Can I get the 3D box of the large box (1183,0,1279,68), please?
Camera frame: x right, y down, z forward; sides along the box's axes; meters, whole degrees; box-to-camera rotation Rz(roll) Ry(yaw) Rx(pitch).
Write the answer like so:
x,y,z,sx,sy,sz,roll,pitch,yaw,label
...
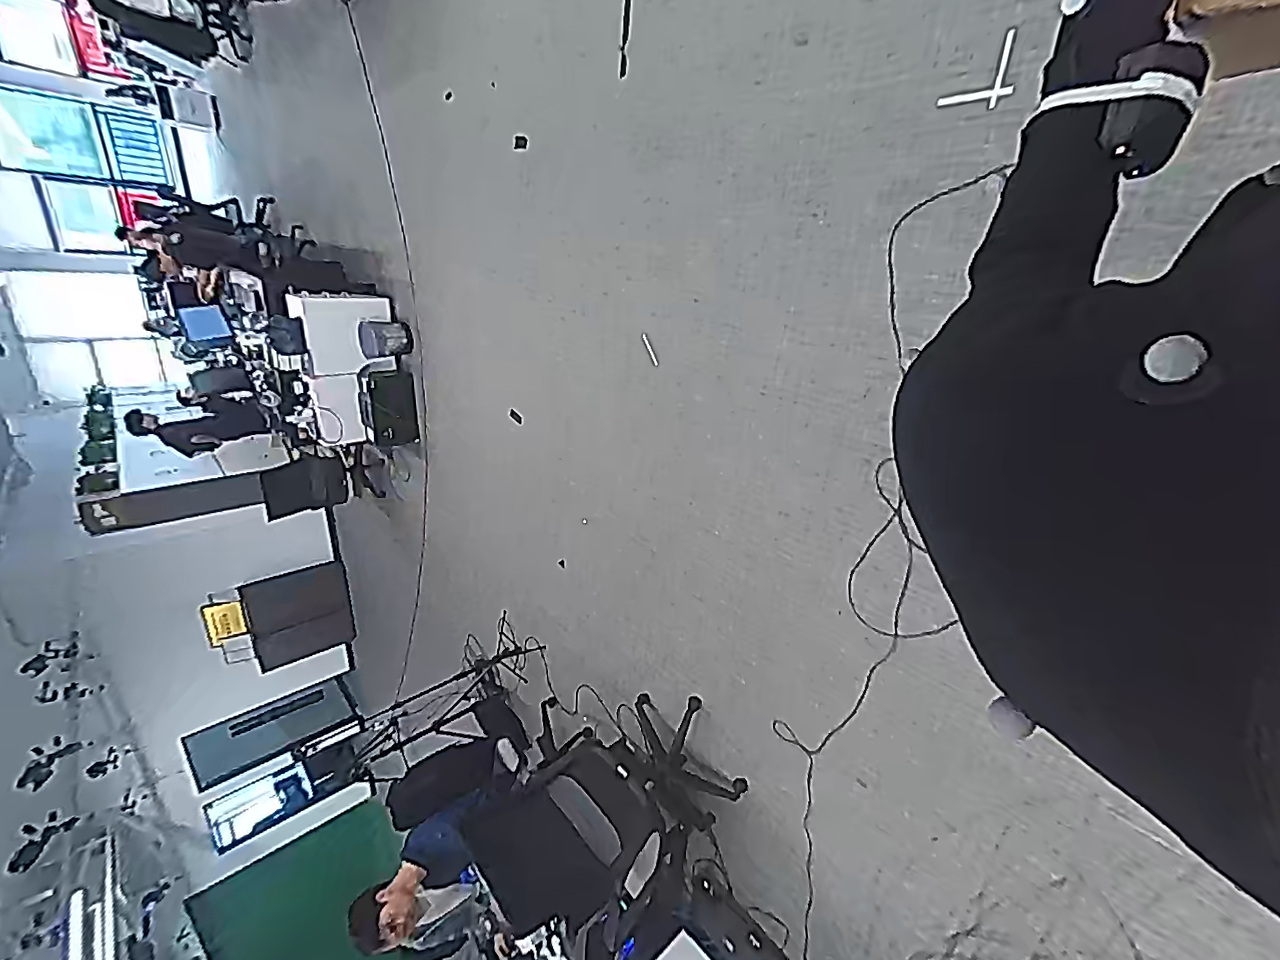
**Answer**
x,y,z,sx,sy,sz,roll,pitch,yaw,label
0.595,-0.474,0.272,0.408,0.320,0.320,17,122,44,large box
